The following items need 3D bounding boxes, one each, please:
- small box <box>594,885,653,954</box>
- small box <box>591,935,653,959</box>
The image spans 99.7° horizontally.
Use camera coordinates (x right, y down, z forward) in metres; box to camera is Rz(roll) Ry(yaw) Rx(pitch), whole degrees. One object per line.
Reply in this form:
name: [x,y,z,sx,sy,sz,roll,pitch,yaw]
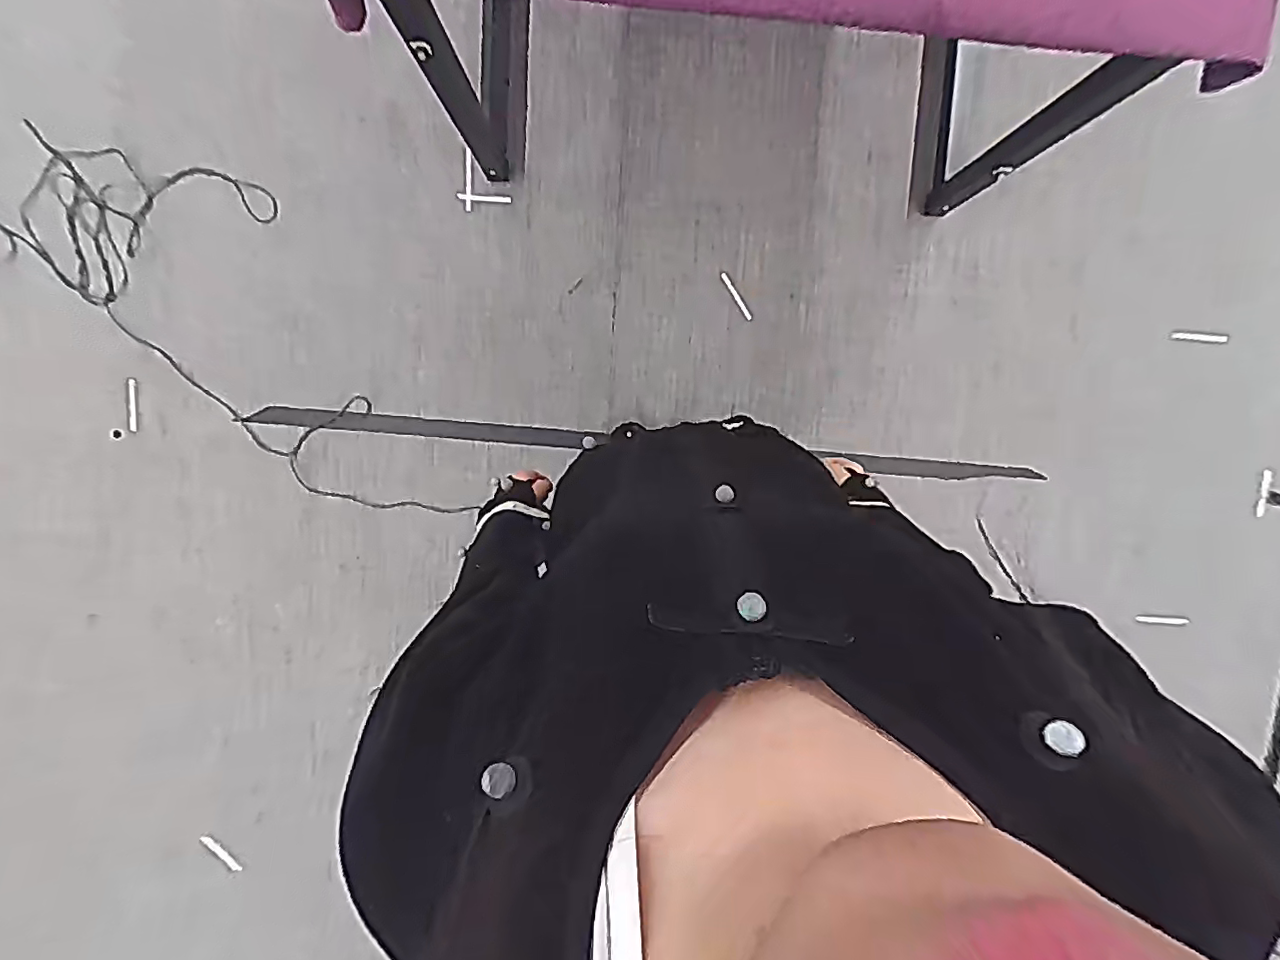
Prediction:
small box: [-0.049,1.316,1.568,0.168,0.176,0.179,0,97,-1]
small box: [-0.046,1.340,1.406,0.168,0.176,0.179,-2,98,-1]
